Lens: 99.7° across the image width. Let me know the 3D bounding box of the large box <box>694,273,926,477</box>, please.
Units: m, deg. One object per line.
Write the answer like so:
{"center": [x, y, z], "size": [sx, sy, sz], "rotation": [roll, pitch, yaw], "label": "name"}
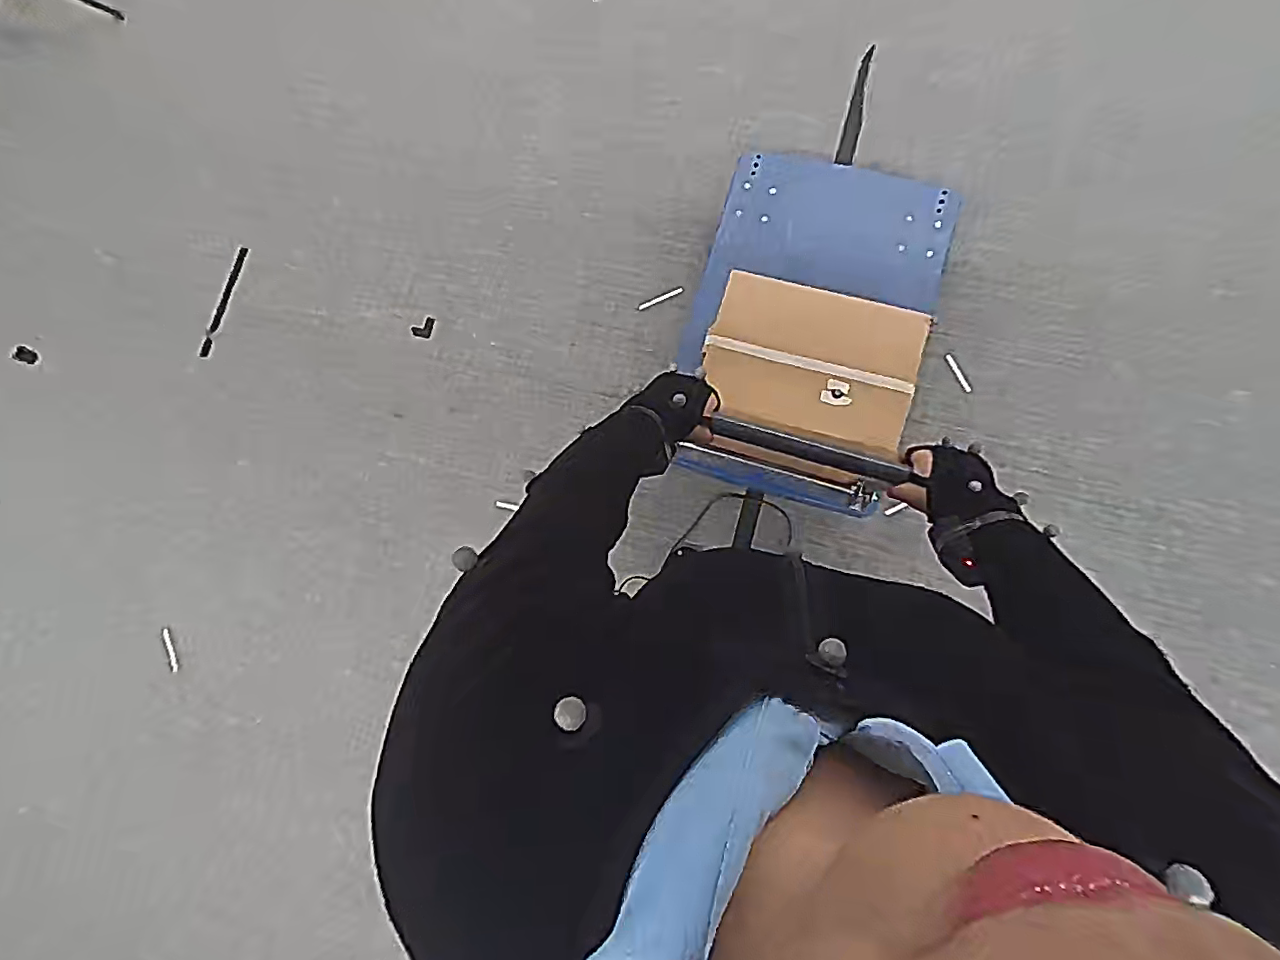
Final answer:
{"center": [0.351, -0.218, 1.227], "size": [0.408, 0.320, 0.320], "rotation": [16, 86, 8], "label": "large box"}
